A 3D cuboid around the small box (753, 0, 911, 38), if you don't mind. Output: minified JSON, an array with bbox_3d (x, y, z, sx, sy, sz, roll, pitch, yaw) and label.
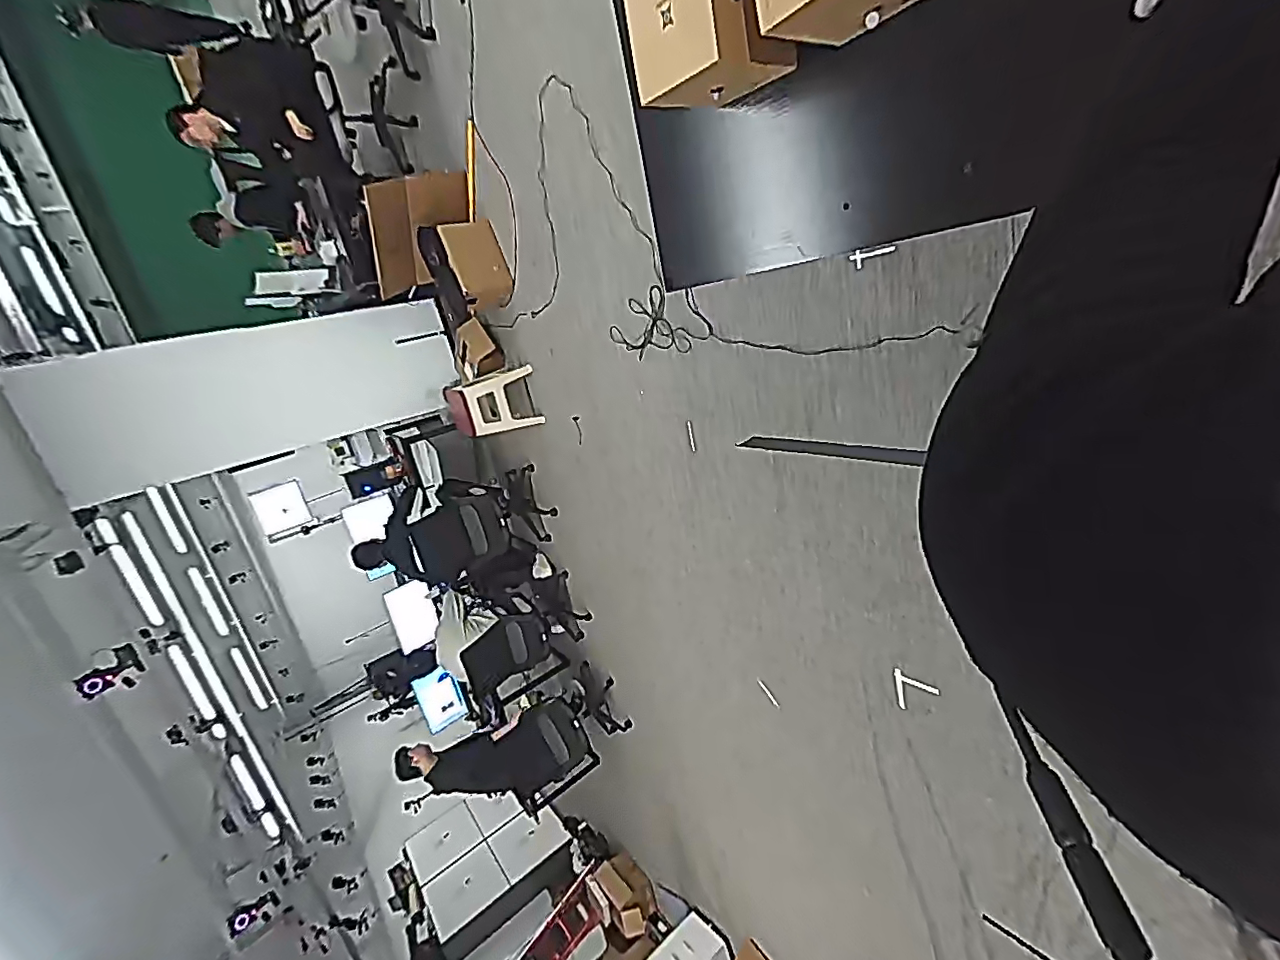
[{"bbox_3d":[0.233,-0.629,0.594,0.168,0.176,0.179,10,120,52],"label":"small box"}]

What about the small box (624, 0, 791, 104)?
[{"bbox_3d":[0.098,-0.664,0.770,0.168,0.176,0.179,16,123,50],"label":"small box"}]
